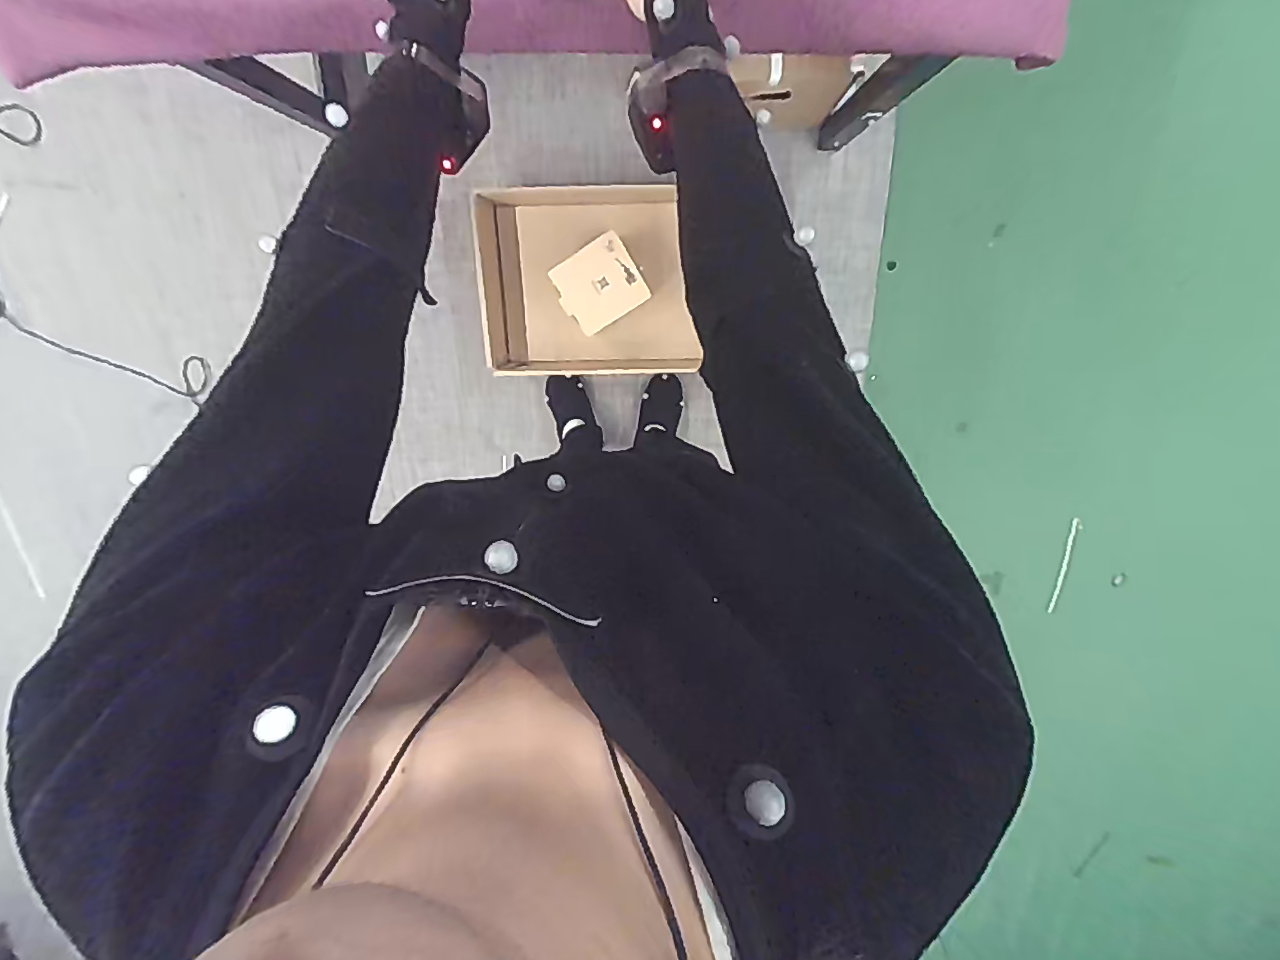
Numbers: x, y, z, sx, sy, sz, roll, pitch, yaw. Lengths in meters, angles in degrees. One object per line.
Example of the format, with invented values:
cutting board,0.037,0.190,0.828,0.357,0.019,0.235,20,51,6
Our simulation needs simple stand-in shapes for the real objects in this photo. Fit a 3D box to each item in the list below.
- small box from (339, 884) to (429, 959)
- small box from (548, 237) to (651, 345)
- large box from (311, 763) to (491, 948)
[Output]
small box,-0.751,1.347,1.588,0.168,0.176,0.179,33,107,-8
small box,-0.085,-0.434,1.258,0.179,0.176,0.168,-29,105,11
large box,-0.778,1.243,1.811,0.408,0.320,0.320,29,106,-6
